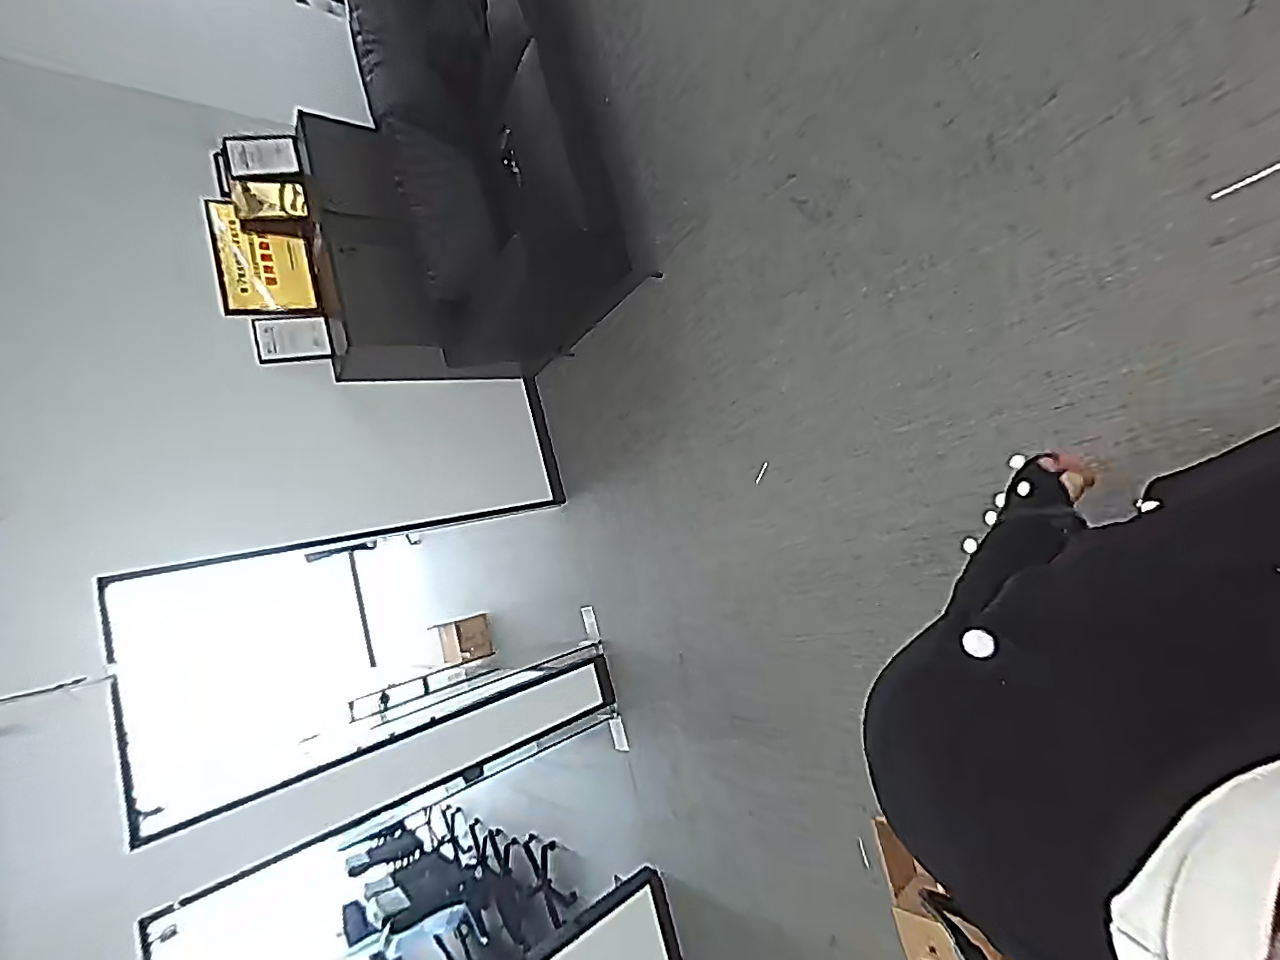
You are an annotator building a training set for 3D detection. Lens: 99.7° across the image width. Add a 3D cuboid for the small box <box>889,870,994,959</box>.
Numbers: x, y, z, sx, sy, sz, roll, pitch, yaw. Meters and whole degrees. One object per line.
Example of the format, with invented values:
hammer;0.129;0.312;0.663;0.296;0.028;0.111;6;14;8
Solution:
small box;0.797;1.187;1.426;0.168;0.176;0.179;-25;77;50
